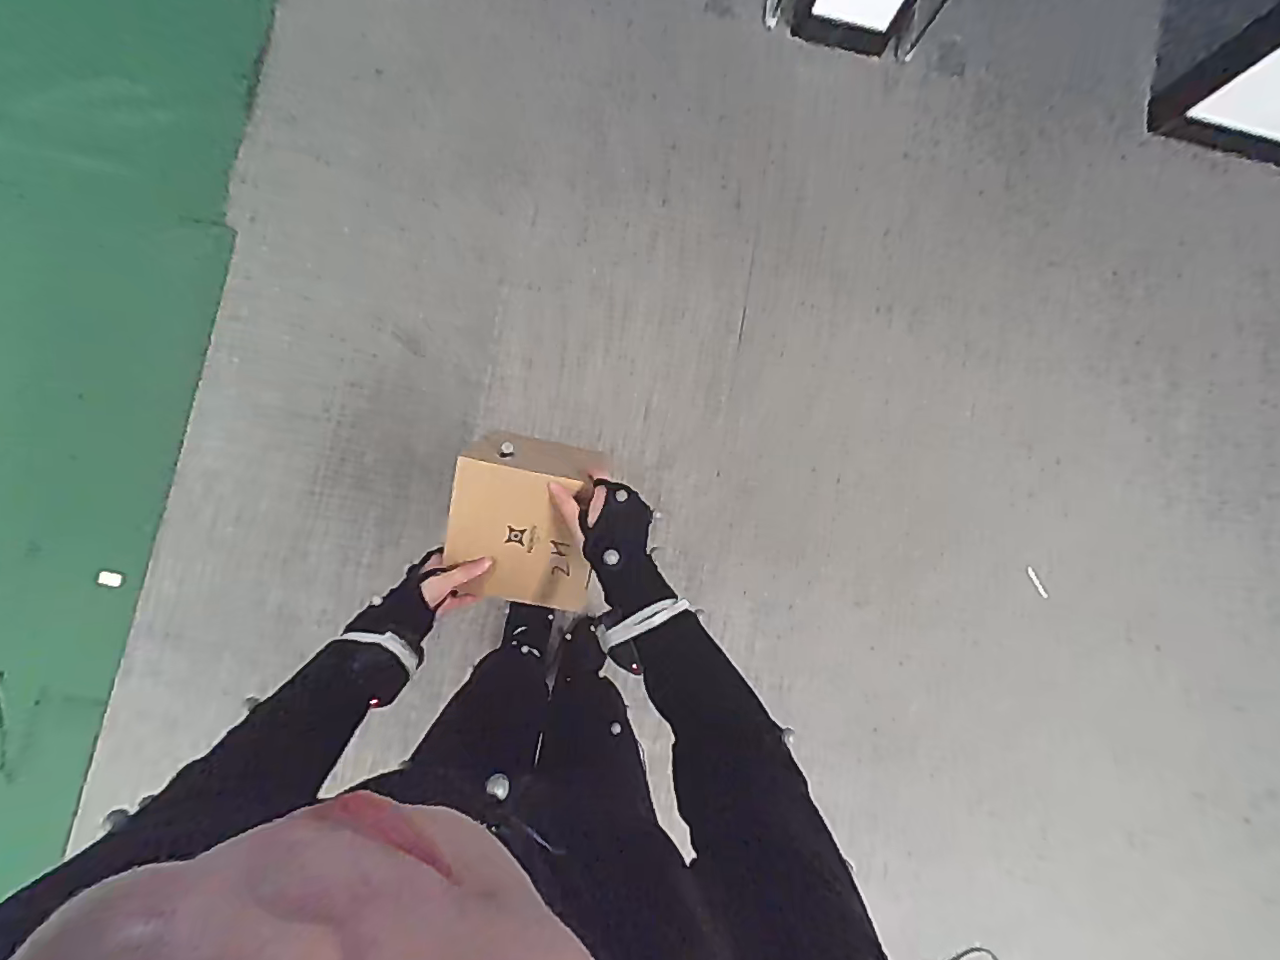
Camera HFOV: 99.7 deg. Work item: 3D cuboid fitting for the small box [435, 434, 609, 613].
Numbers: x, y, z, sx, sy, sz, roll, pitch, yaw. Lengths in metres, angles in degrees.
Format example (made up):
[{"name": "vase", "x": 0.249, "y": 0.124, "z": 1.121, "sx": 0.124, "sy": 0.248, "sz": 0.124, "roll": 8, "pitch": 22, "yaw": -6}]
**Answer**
[{"name": "small box", "x": -0.143, "y": 0.046, "z": 0.703, "sx": 0.179, "sy": 0.176, "sz": 0.168, "roll": 12, "pitch": 106, "yaw": -7}]
